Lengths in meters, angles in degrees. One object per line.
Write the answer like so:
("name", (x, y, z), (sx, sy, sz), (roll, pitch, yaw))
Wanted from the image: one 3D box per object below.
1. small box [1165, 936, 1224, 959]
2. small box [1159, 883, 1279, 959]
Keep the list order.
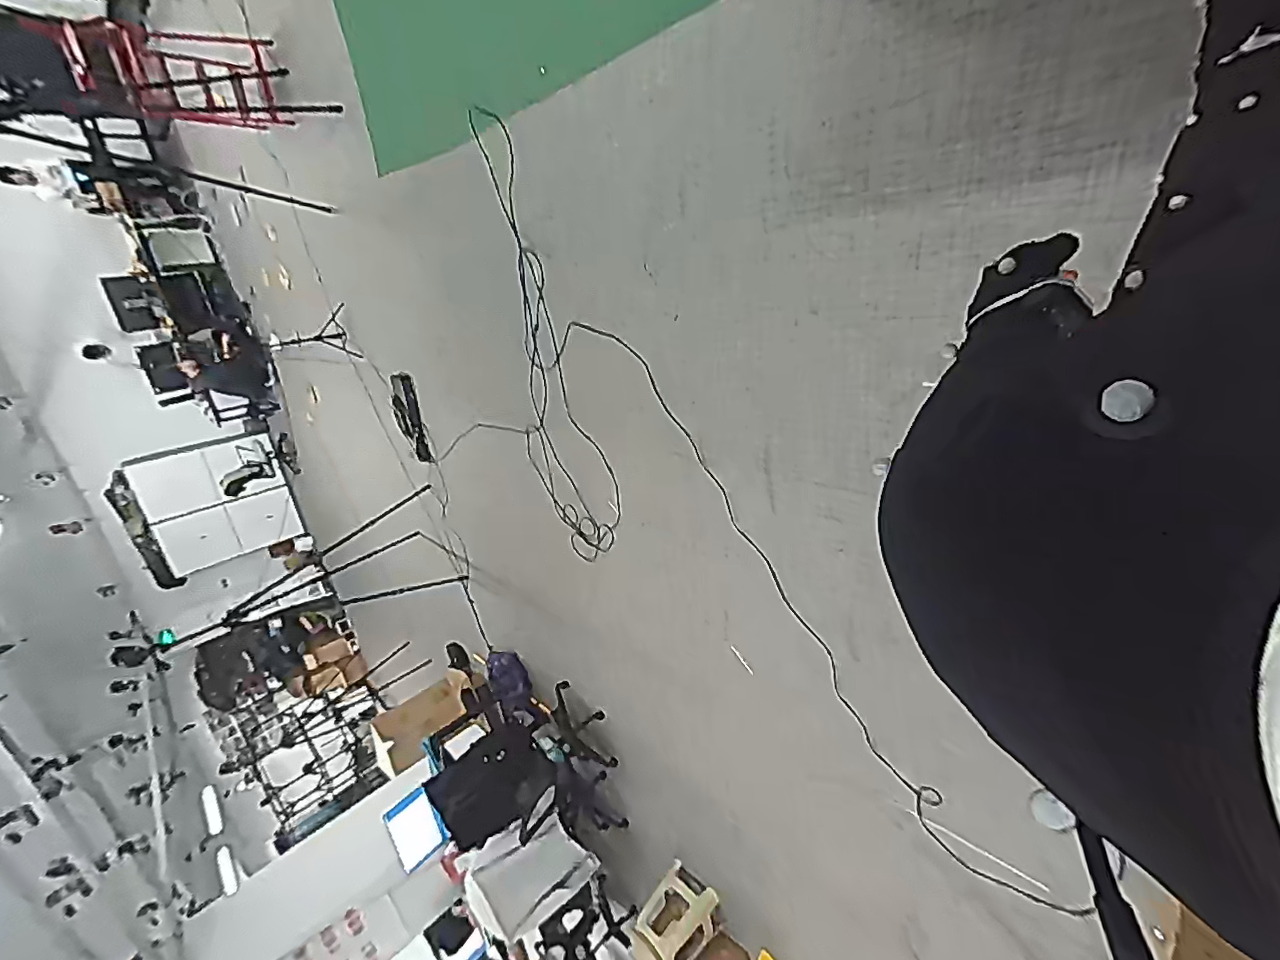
("small box", (1.258, 1.168, 1.181), (0.168, 0.176, 0.179), (14, 120, 43))
("small box", (1.378, 1.132, 1.290), (0.168, 0.176, 0.179), (17, 122, 41))
